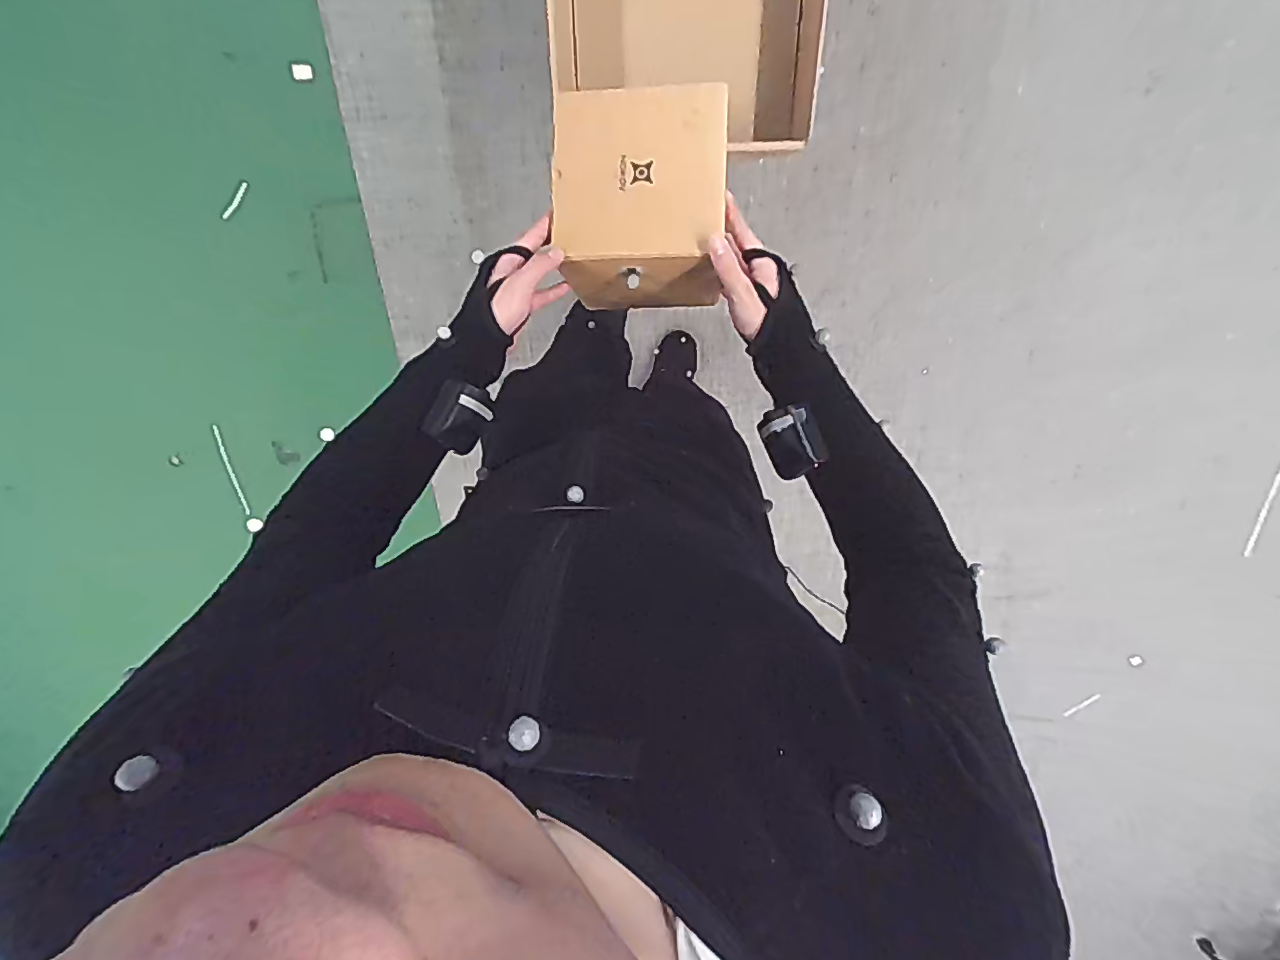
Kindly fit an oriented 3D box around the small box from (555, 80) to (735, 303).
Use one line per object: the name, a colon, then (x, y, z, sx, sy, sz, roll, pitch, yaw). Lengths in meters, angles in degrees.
small box: (0.012, -0.305, 0.606, 0.179, 0.176, 0.168, 1, 92, 8)
